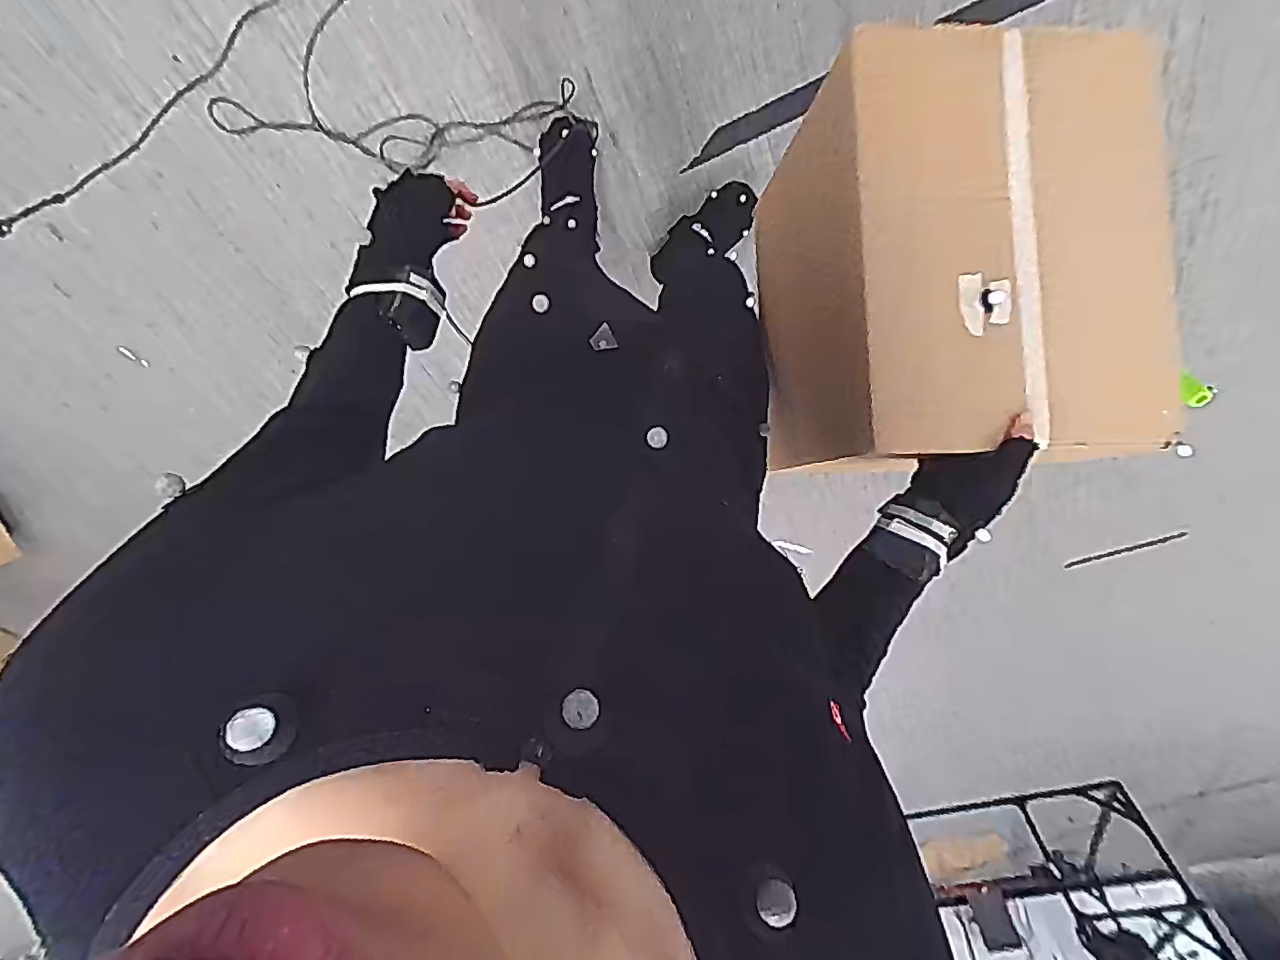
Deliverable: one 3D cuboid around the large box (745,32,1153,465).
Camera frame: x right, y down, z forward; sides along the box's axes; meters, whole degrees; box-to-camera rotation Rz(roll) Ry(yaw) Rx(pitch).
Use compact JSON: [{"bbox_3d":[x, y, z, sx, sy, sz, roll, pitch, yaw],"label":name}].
[{"bbox_3d":[0.333,-0.230,0.672,0.320,0.320,0.408,-2,89,-6],"label":"large box"}]
